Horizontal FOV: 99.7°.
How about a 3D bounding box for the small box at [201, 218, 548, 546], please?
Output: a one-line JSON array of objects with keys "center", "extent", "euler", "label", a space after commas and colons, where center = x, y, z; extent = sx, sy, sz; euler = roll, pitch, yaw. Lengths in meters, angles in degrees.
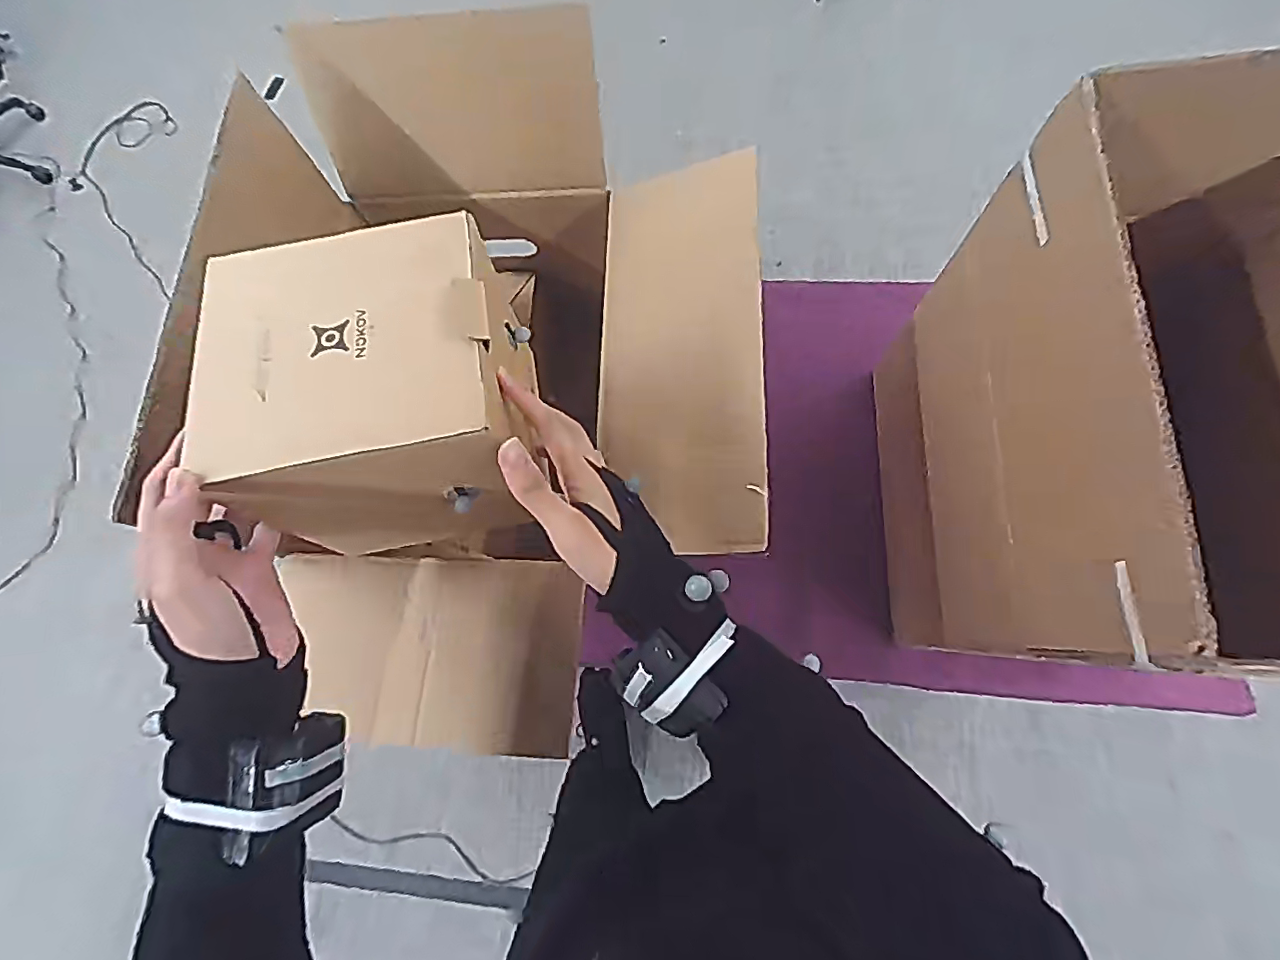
[{"center": [-0.173, -0.059, 0.411], "extent": [0.179, 0.176, 0.168], "euler": [-11, 68, 1], "label": "small box"}]
